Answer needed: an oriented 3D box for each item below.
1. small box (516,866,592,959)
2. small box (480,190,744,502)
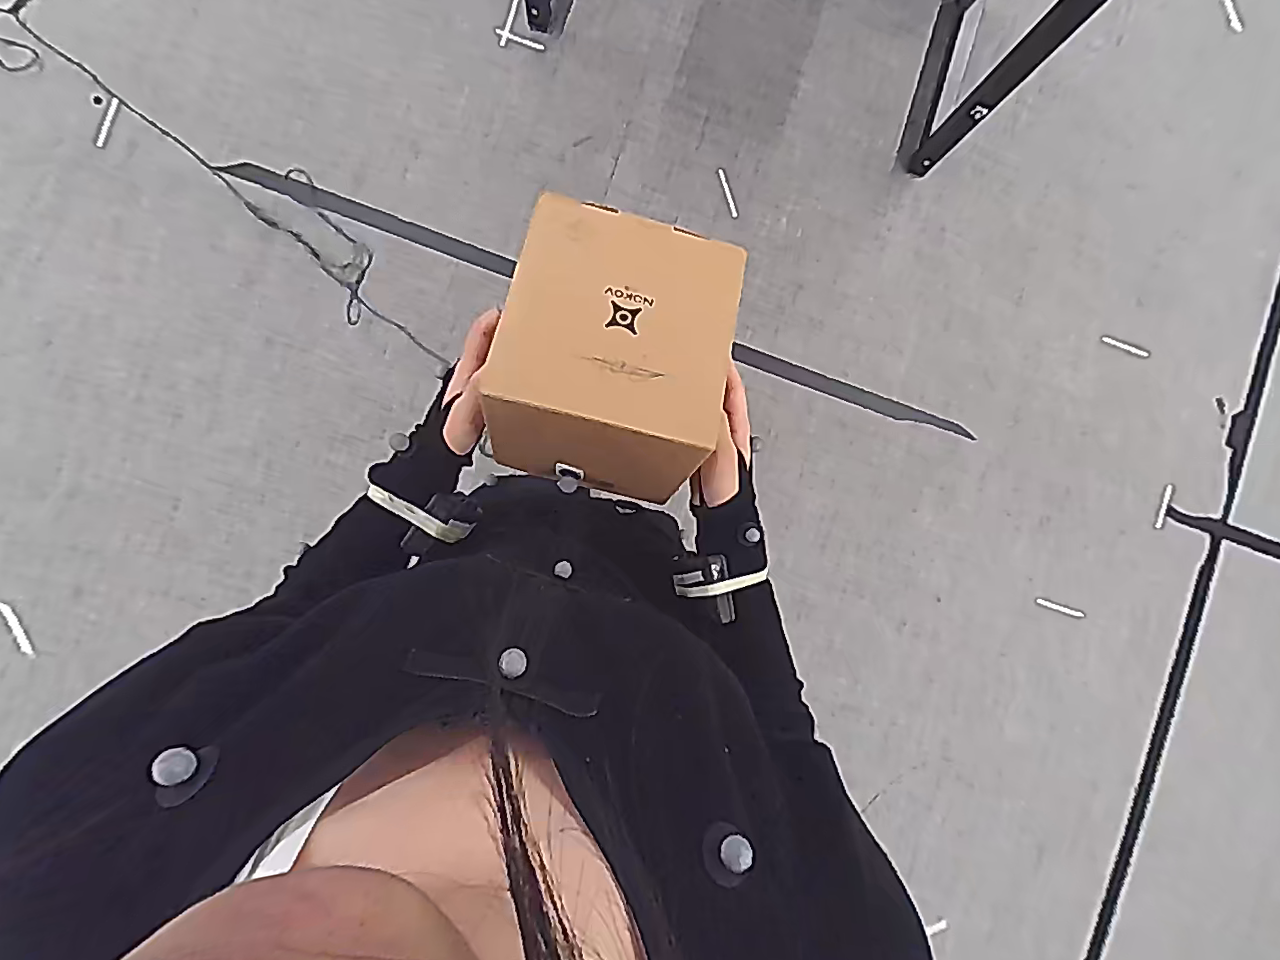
[{"bbox_3d":[-0.222,1.144,1.407,0.179,0.176,0.168,6,89,-6],"label":"small box"},{"bbox_3d":[-0.026,-0.097,0.462,0.168,0.176,0.179,13,72,-6],"label":"small box"}]
